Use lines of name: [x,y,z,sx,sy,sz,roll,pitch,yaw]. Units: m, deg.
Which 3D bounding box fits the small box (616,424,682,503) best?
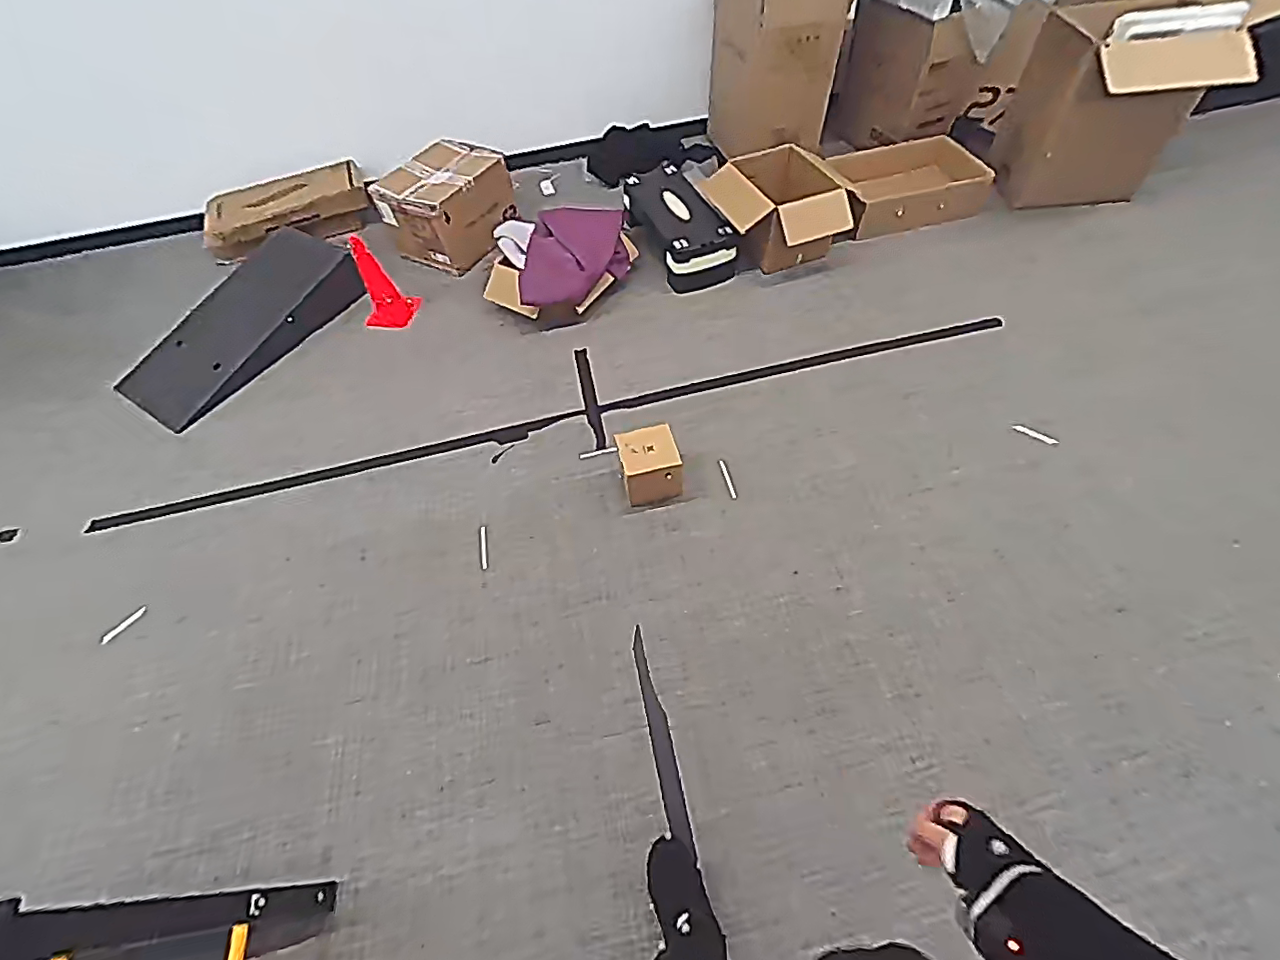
small box: [0.029,-0.049,1.710,0.179,0.176,0.168,-13,56,-4]
